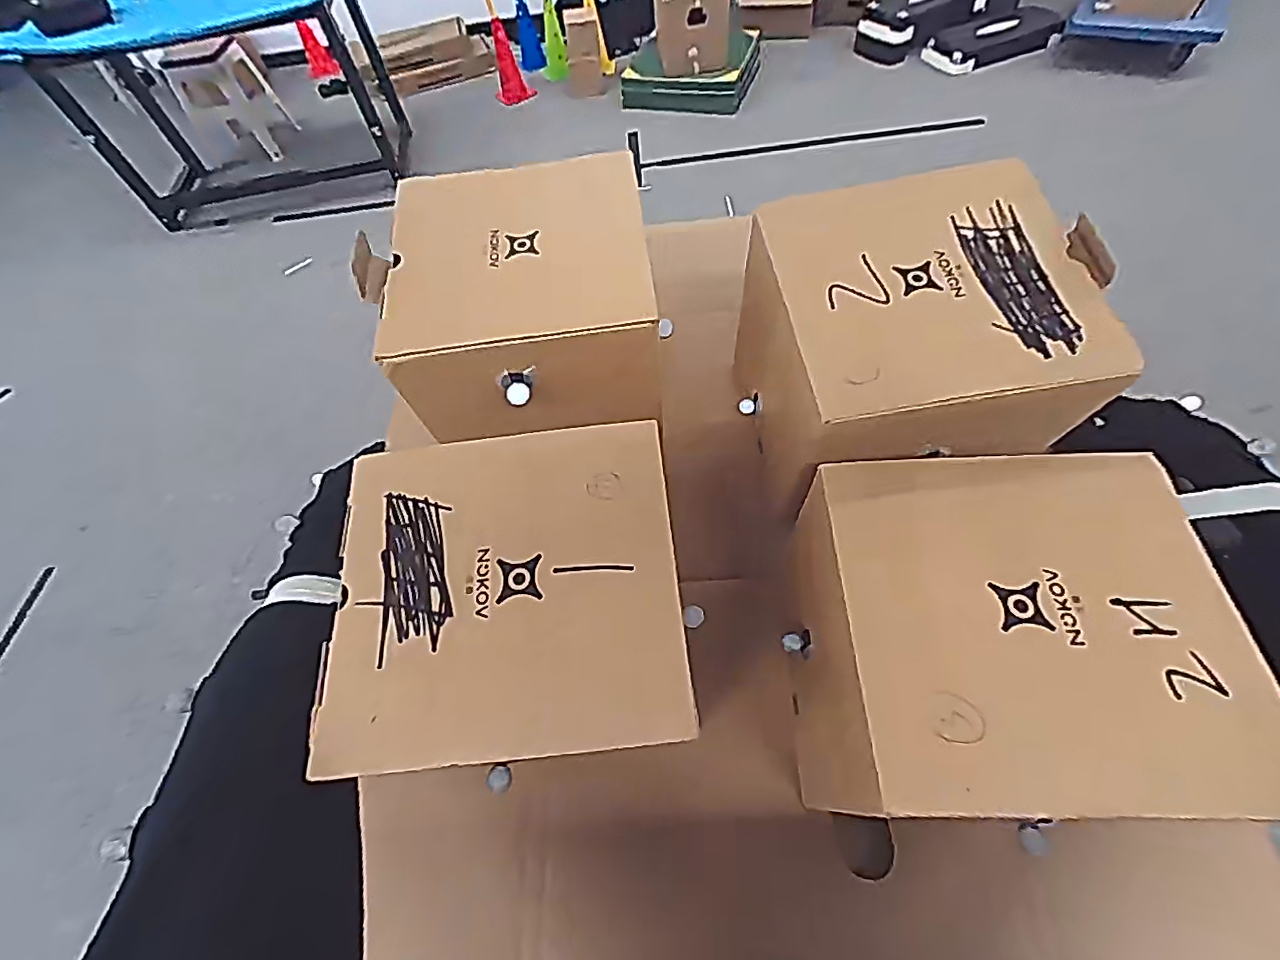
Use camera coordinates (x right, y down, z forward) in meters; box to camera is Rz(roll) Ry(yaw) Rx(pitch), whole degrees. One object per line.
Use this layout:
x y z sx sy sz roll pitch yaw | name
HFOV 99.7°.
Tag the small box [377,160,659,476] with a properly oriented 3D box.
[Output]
-0.079 -0.118 0.438 0.179 0.176 0.168 -8 63 2 | small box
